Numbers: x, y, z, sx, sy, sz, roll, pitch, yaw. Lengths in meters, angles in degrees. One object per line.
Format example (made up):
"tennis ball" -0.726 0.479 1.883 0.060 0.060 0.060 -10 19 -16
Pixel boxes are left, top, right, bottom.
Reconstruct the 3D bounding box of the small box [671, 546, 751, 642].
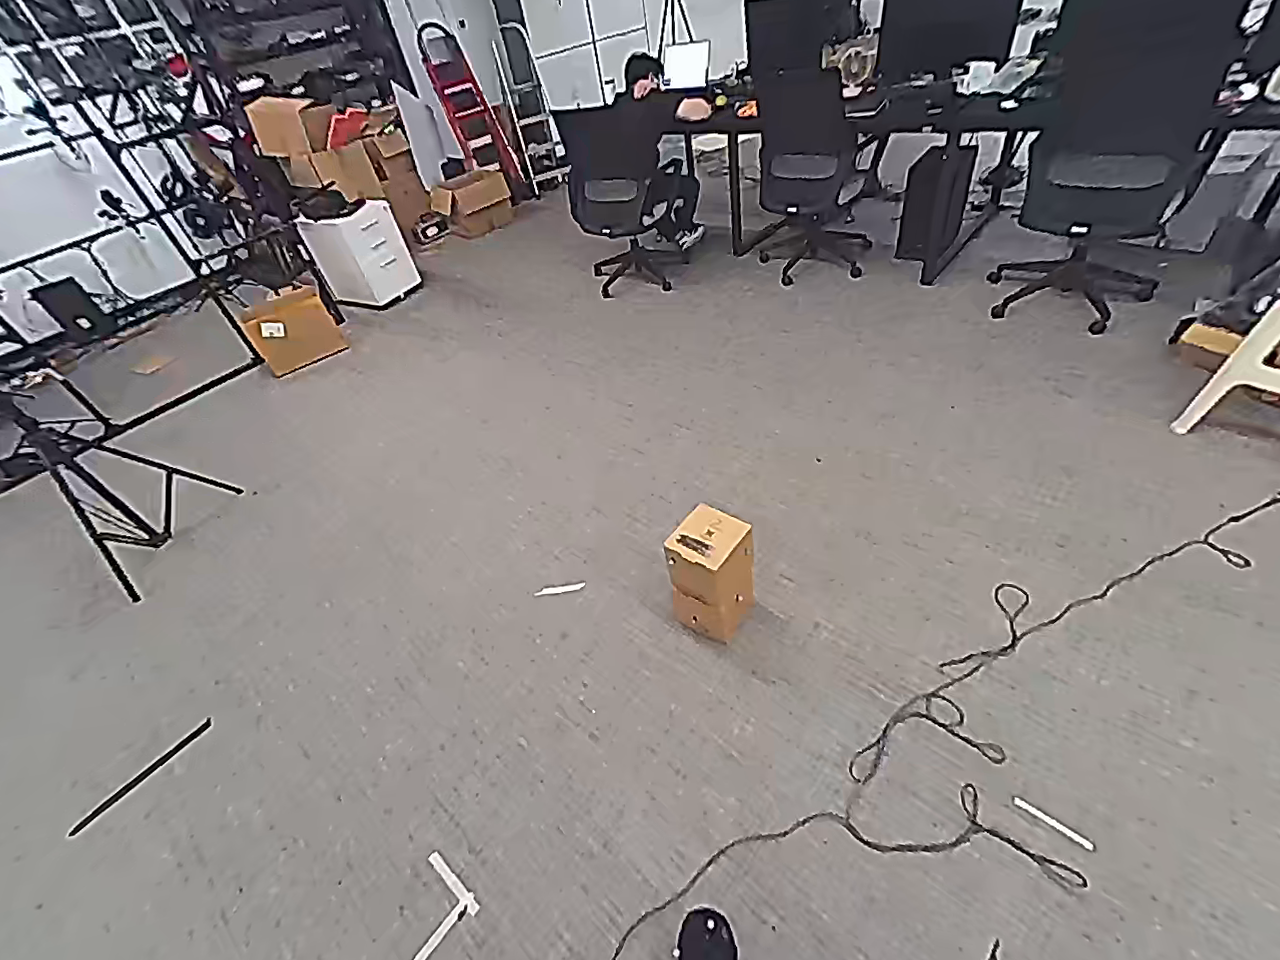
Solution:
"small box" 0.207 0.327 1.549 0.168 0.176 0.179 19 51 31
